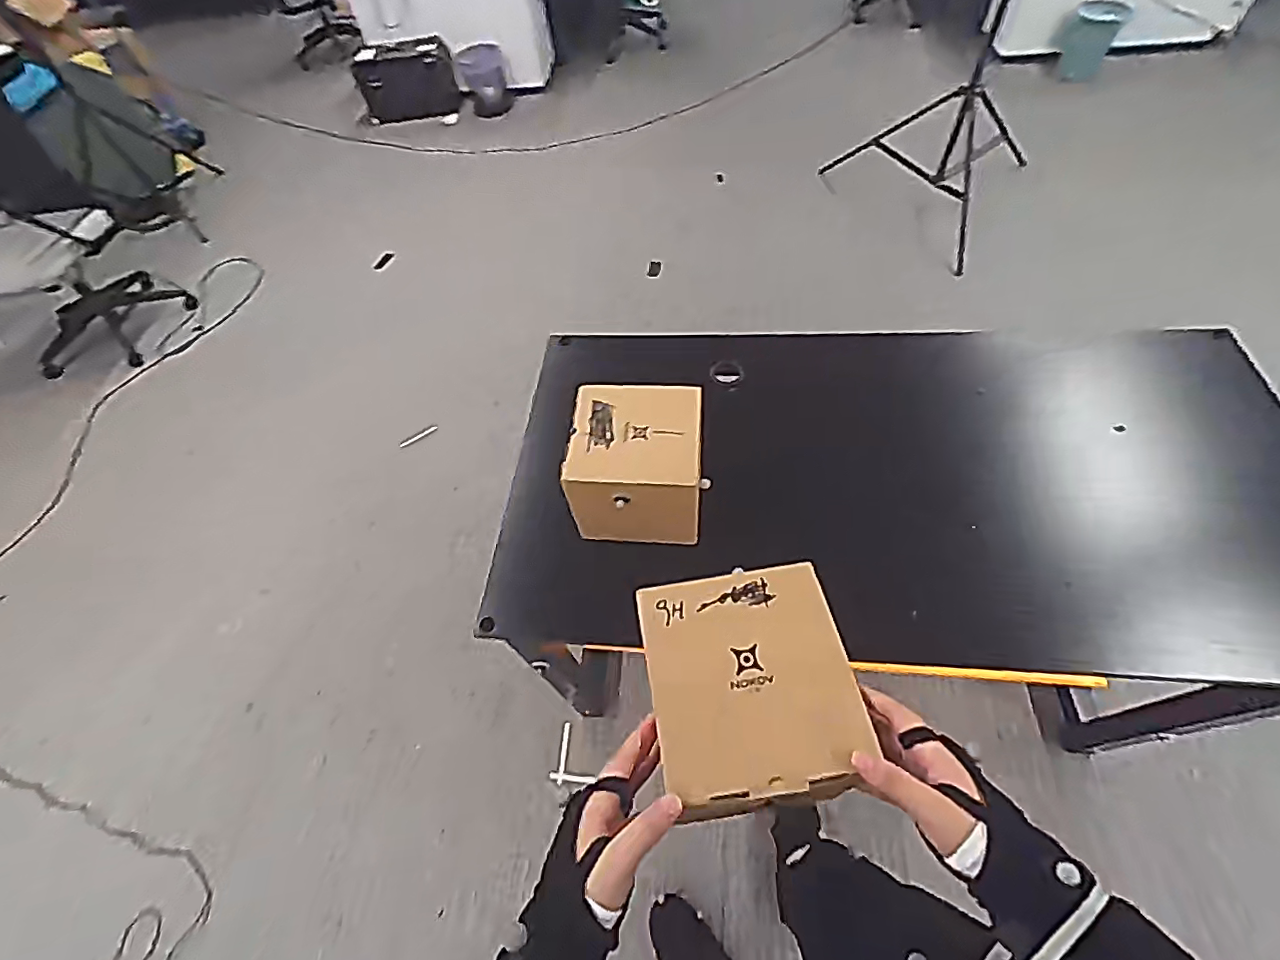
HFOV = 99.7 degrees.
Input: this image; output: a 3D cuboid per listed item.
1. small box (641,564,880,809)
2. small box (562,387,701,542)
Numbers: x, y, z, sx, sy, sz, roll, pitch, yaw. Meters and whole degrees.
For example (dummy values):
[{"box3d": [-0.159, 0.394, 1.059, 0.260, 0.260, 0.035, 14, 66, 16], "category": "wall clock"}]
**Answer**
[{"box3d": [0.098, 0.204, 0.517, 0.168, 0.176, 0.179, -9, 55, -1], "category": "small box"}, {"box3d": [-0.001, -0.019, 0.795, 0.179, 0.176, 0.168, 3, 58, 7], "category": "small box"}]
